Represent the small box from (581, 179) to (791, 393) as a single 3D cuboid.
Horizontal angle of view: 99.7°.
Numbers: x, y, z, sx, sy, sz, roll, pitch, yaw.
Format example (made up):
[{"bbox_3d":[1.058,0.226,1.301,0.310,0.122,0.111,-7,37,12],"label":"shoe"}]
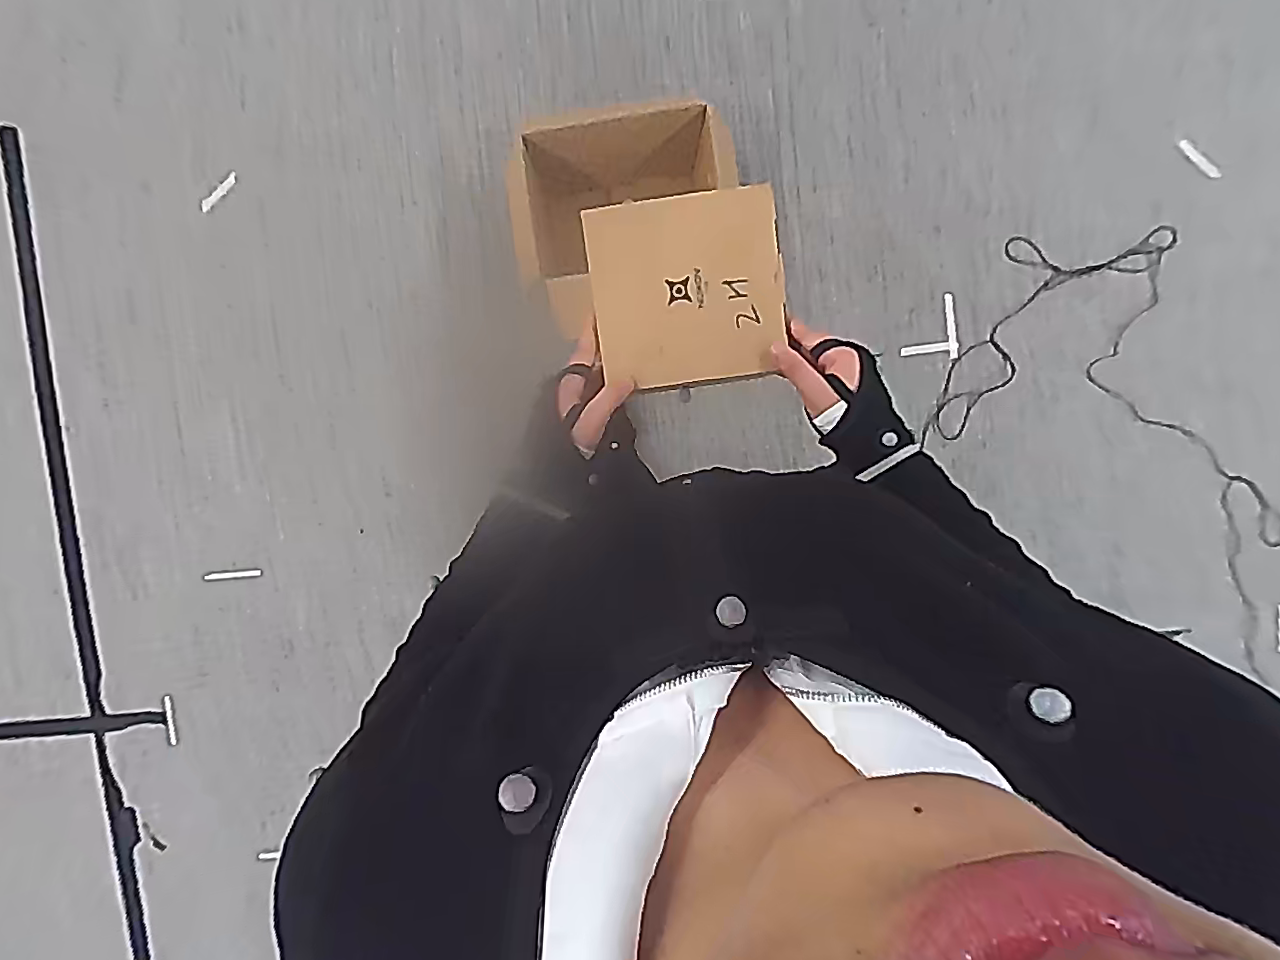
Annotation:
[{"bbox_3d":[0.044,-0.184,0.563,0.179,0.176,0.168,-7,98,1],"label":"small box"}]
